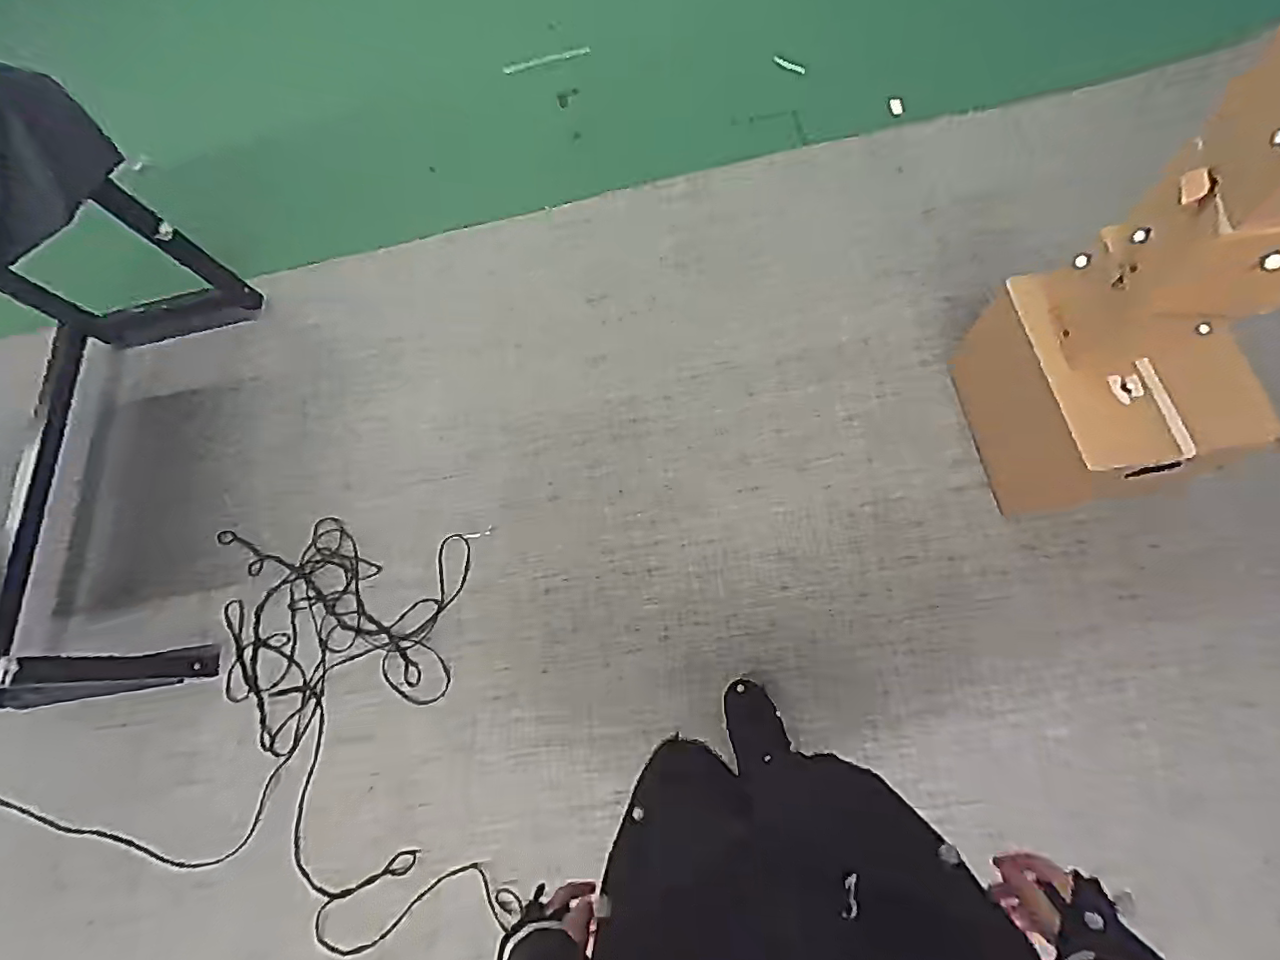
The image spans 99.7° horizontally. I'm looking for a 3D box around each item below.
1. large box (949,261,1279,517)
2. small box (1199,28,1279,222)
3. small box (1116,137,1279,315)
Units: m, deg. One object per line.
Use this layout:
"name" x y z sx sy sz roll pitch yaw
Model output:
"large box" 0.901 -0.173 1.096 0.320 0.320 0.408 -12 72 7
"small box" 0.781 -0.403 0.585 0.168 0.176 0.179 0 72 9
"small box" 0.808 -0.340 0.733 0.179 0.176 0.168 2 73 11
